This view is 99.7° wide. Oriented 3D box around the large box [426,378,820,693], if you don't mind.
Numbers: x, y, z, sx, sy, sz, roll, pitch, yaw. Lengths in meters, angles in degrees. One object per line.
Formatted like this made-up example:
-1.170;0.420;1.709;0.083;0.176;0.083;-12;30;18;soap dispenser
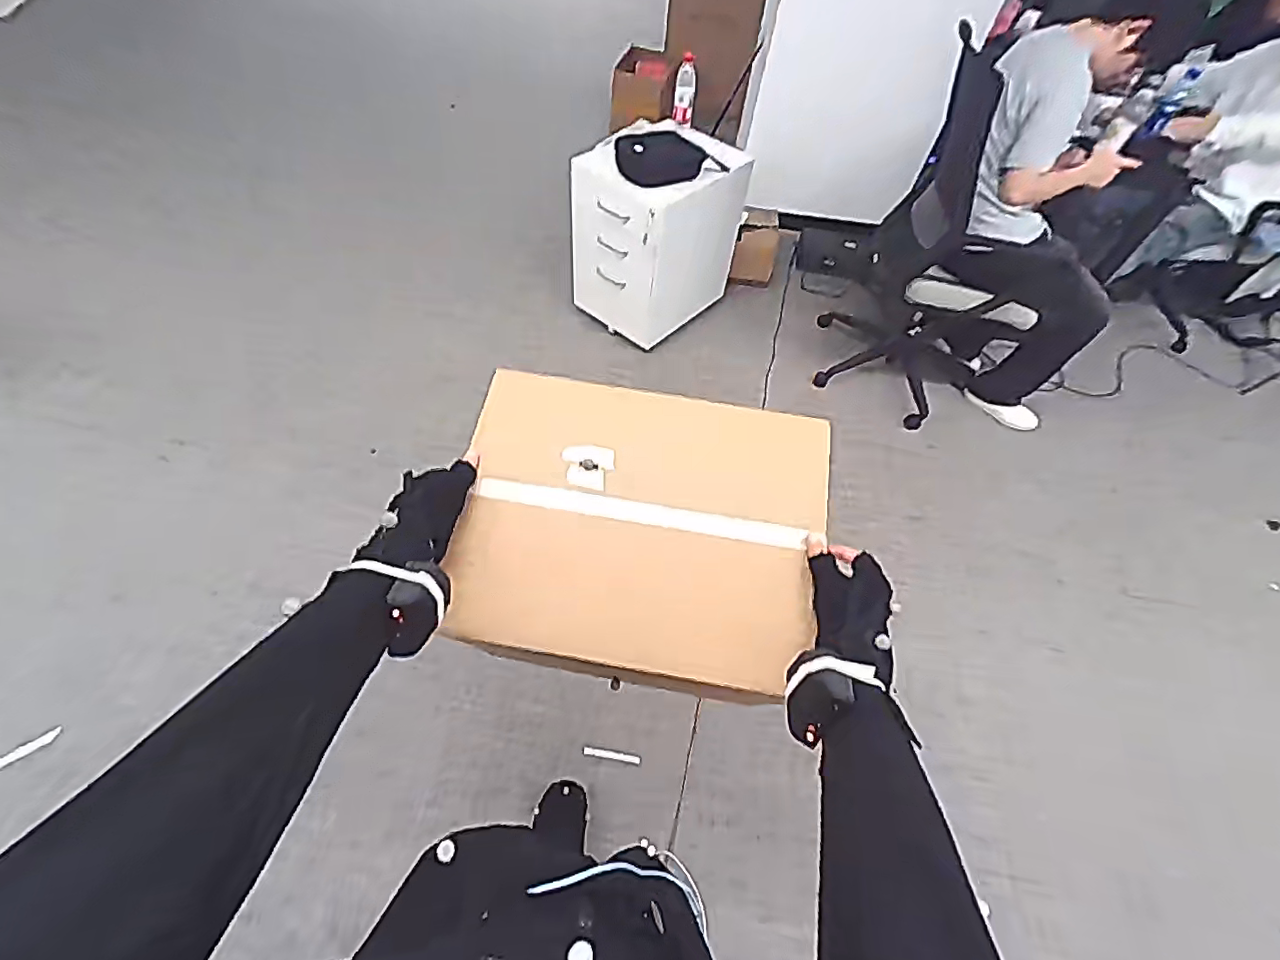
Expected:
-0.001;0.096;0.739;0.408;0.320;0.320;9;66;4;large box
